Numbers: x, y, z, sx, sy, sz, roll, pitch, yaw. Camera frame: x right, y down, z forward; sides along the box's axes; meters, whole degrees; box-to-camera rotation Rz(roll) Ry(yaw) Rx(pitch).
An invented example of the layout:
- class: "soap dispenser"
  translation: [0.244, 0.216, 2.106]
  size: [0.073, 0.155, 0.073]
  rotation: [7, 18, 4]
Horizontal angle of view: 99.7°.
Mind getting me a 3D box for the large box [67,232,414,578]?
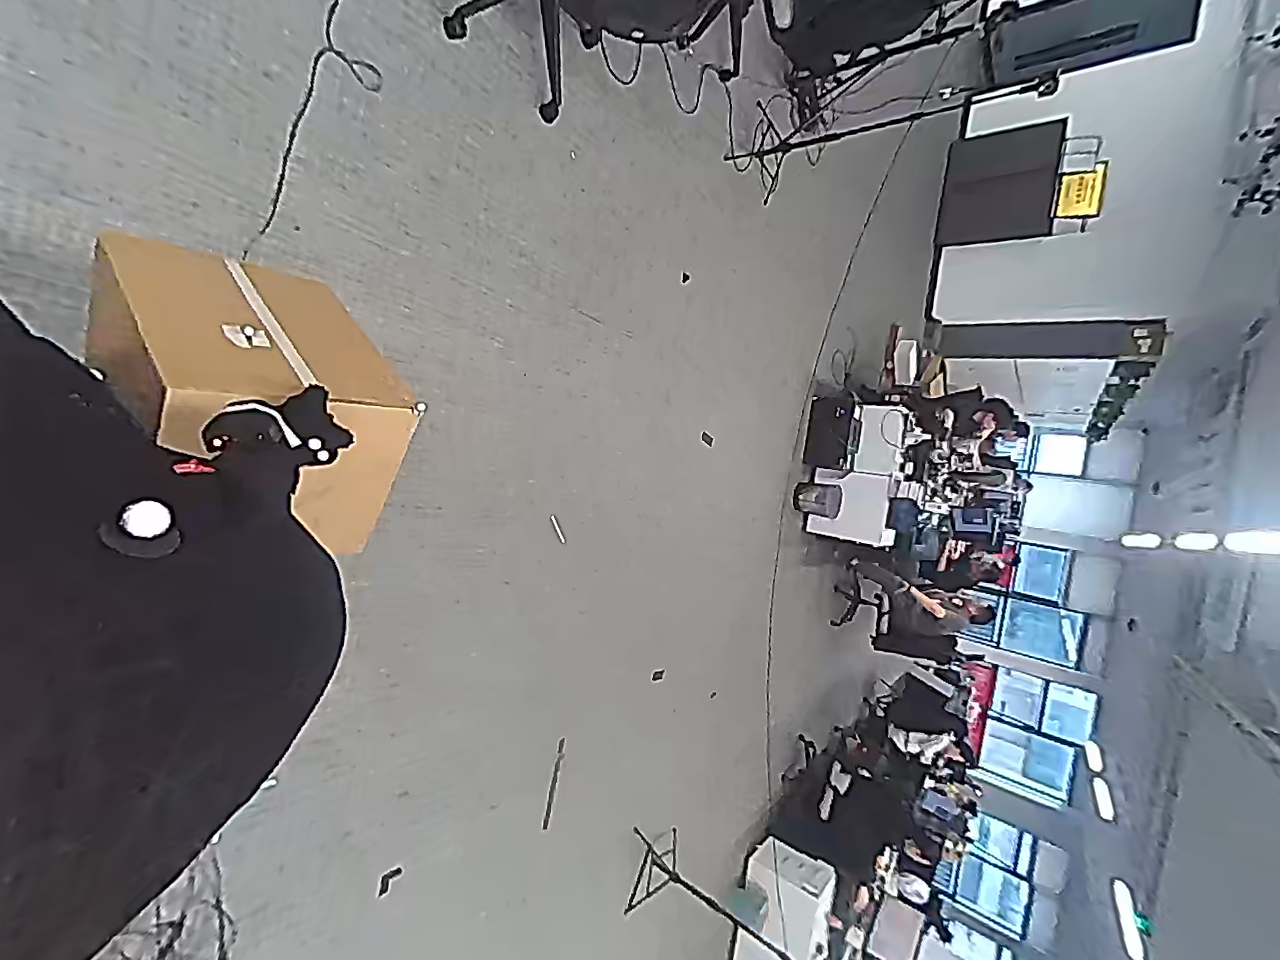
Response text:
- class: "large box"
  translation: [-0.641, -0.112, 0.859]
  size: [0.320, 0.408, 0.320]
  rotation: [-4, 134, -54]
